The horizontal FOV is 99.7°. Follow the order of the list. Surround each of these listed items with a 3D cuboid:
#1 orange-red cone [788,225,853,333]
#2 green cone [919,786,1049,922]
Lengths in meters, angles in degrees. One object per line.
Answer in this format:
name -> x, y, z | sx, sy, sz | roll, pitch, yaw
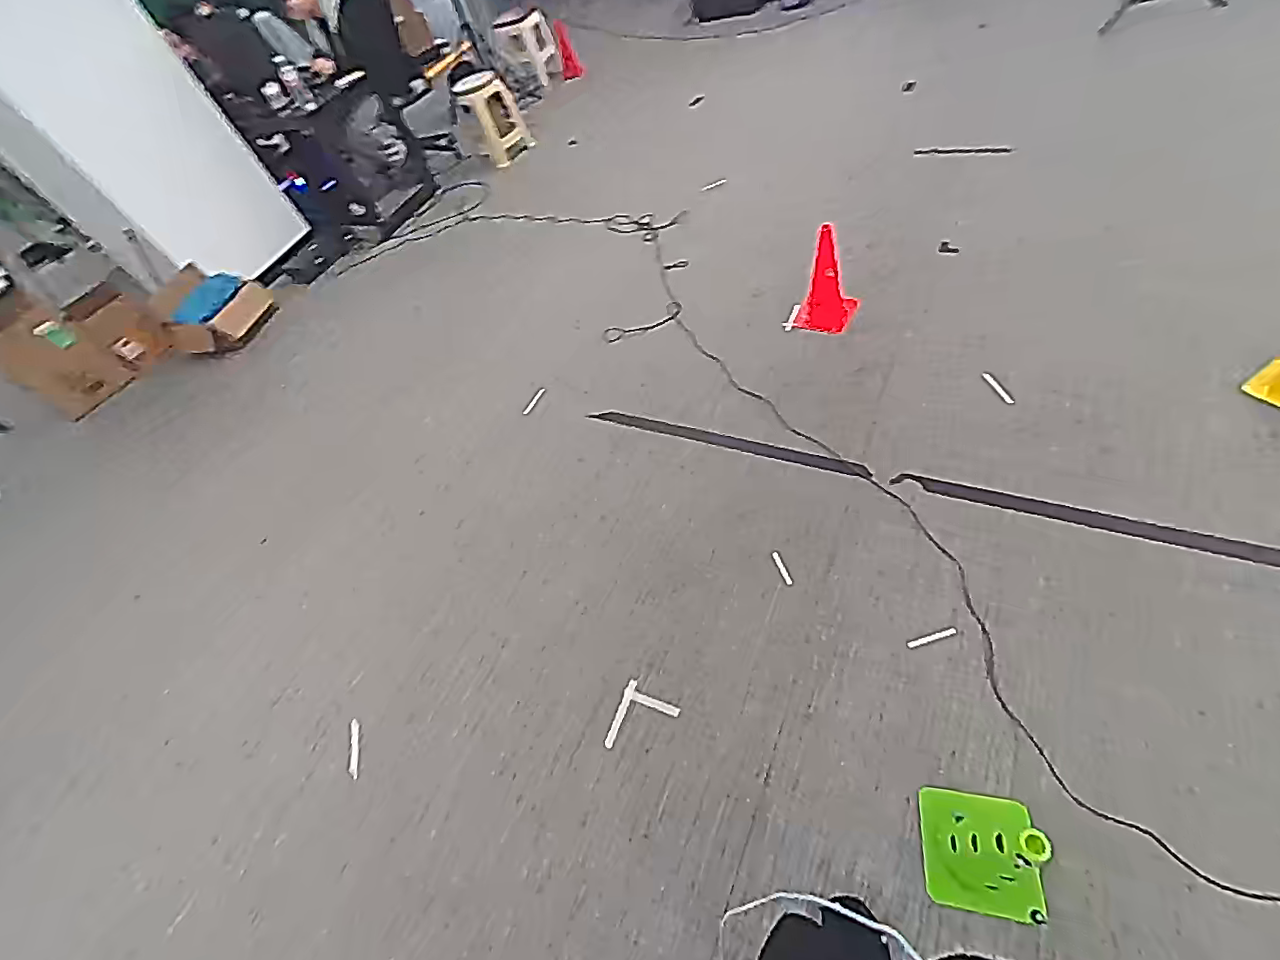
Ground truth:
orange-red cone -> 0.648, -0.735, 1.930 | 0.199, 0.360, 0.198 | 22, 65, 29
green cone -> 0.622, 0.627, 0.933 | 0.202, 0.368, 0.200 | -1, 54, 19
